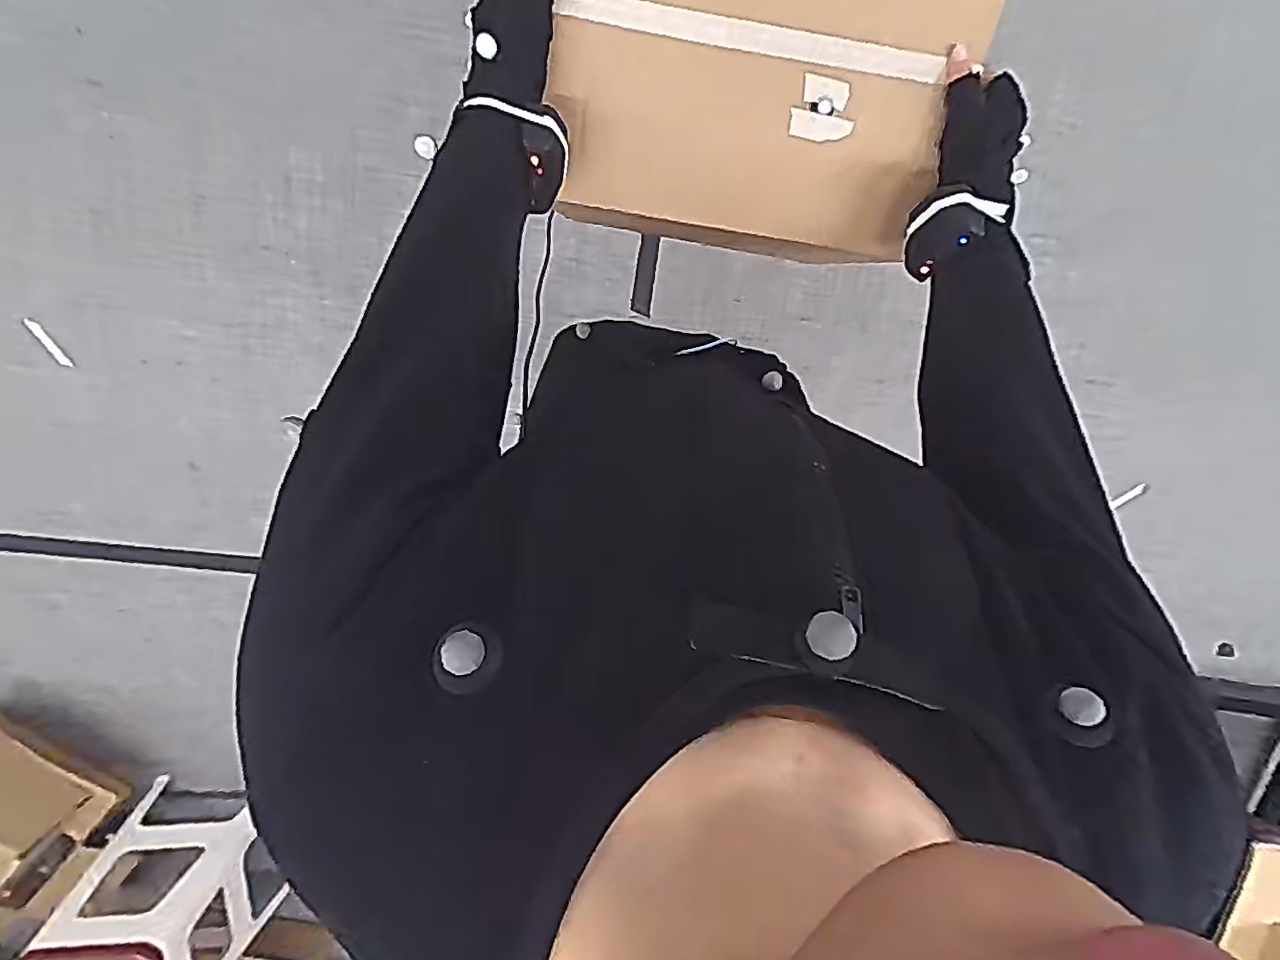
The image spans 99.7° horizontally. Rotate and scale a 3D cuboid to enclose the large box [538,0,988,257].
[{"bbox_3d":[0.107,-0.457,0.641,0.408,0.320,0.320,7,112,-4],"label":"large box"}]
